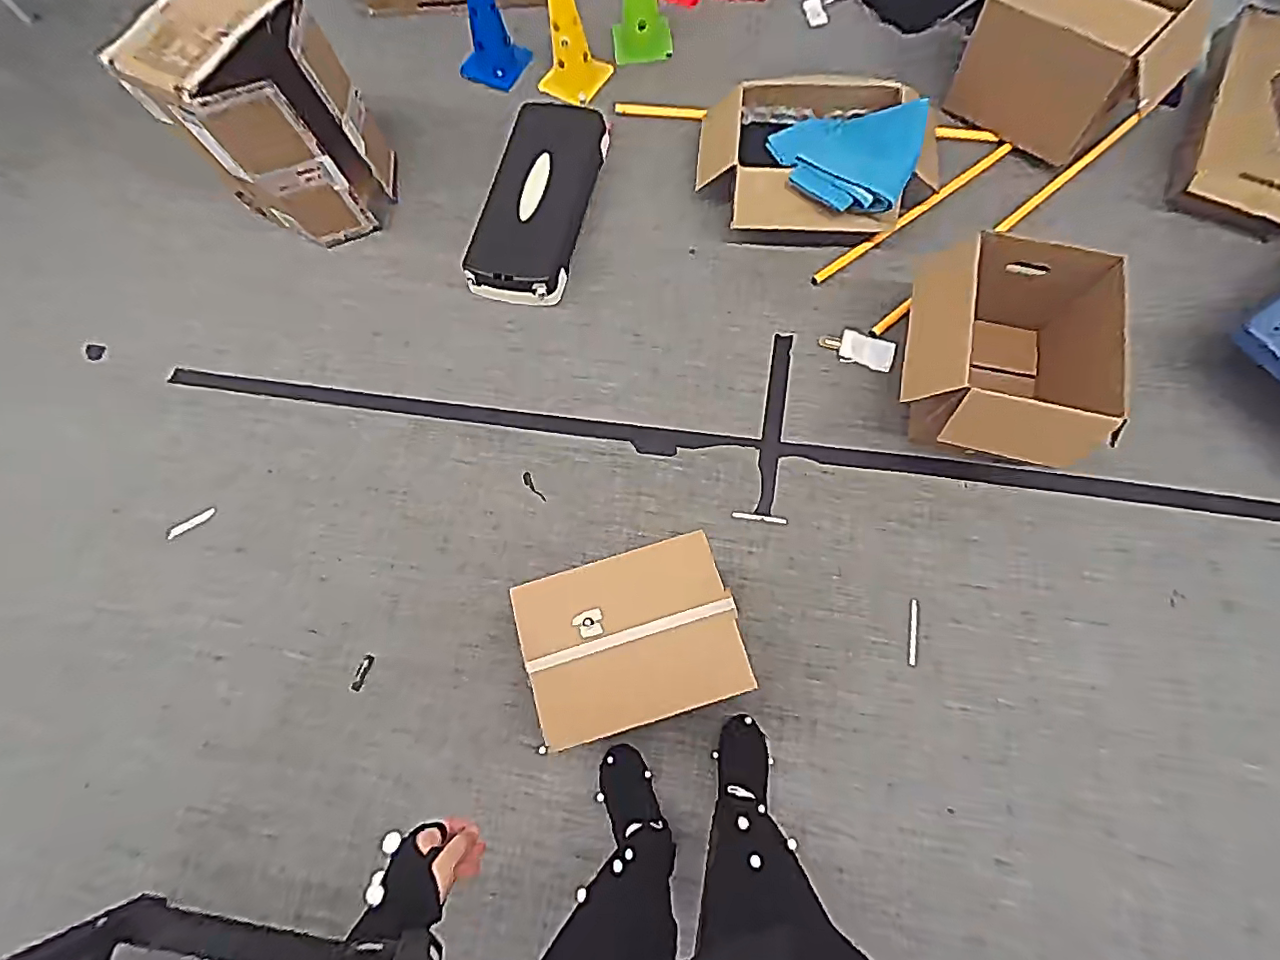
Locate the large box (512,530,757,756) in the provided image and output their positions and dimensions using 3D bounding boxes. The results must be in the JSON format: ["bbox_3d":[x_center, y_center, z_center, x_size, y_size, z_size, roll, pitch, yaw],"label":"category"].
[{"bbox_3d":[-0.007,0.337,1.160,0.408,0.320,0.320,-18,72,-1],"label":"large box"}]
